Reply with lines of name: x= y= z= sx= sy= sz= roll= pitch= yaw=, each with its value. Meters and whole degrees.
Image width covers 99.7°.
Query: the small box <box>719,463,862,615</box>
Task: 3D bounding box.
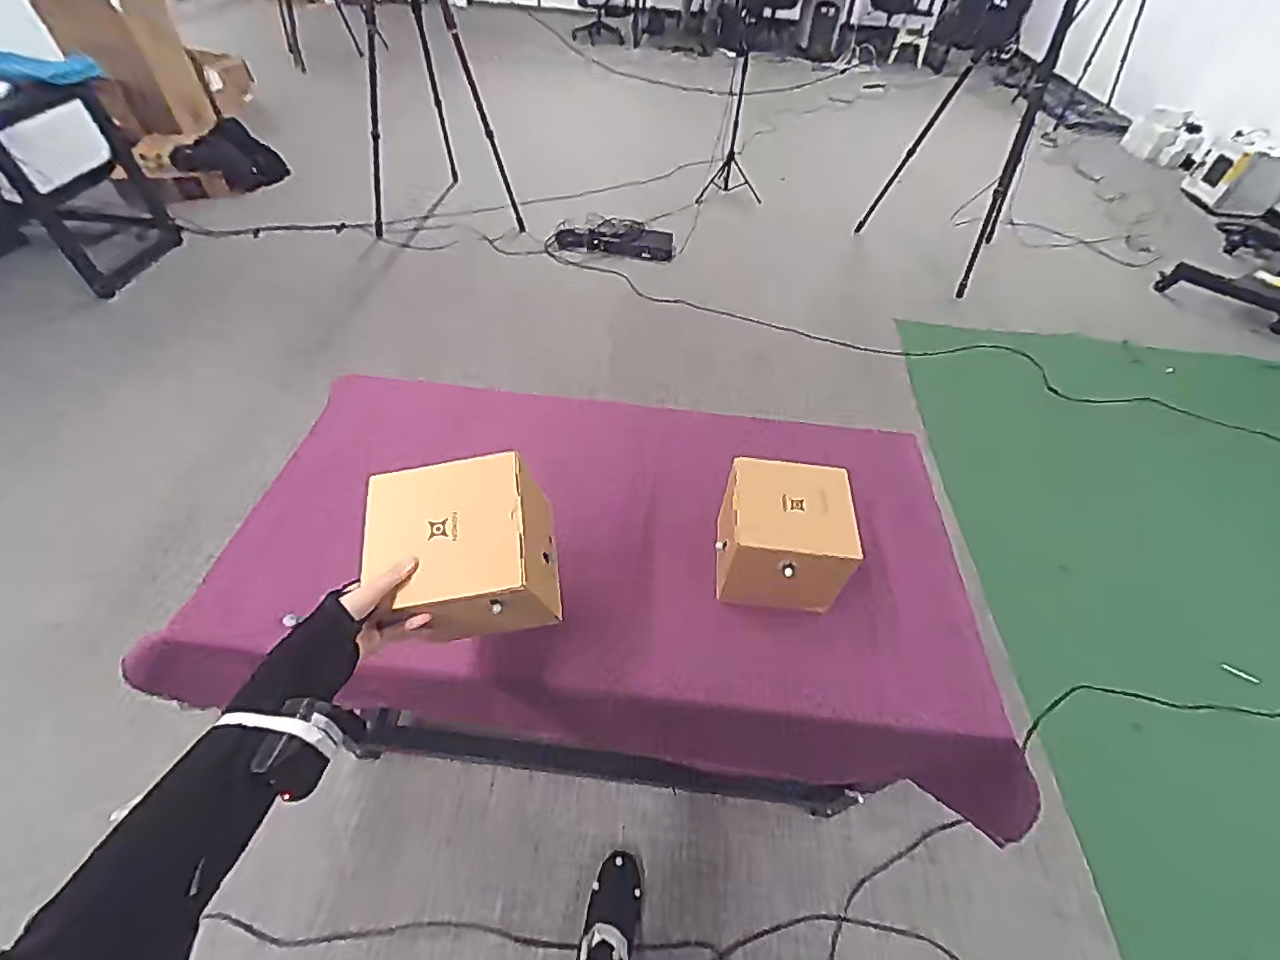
small box: x=0.222 y=0.096 z=0.846 sx=0.179 sy=0.176 sz=0.168 roll=7 pitch=50 yaw=2

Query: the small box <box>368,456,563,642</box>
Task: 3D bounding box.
small box: x=-0.203 y=0.093 z=0.669 sx=0.179 sy=0.176 sz=0.168 roll=-9 pitch=62 yaw=-1
